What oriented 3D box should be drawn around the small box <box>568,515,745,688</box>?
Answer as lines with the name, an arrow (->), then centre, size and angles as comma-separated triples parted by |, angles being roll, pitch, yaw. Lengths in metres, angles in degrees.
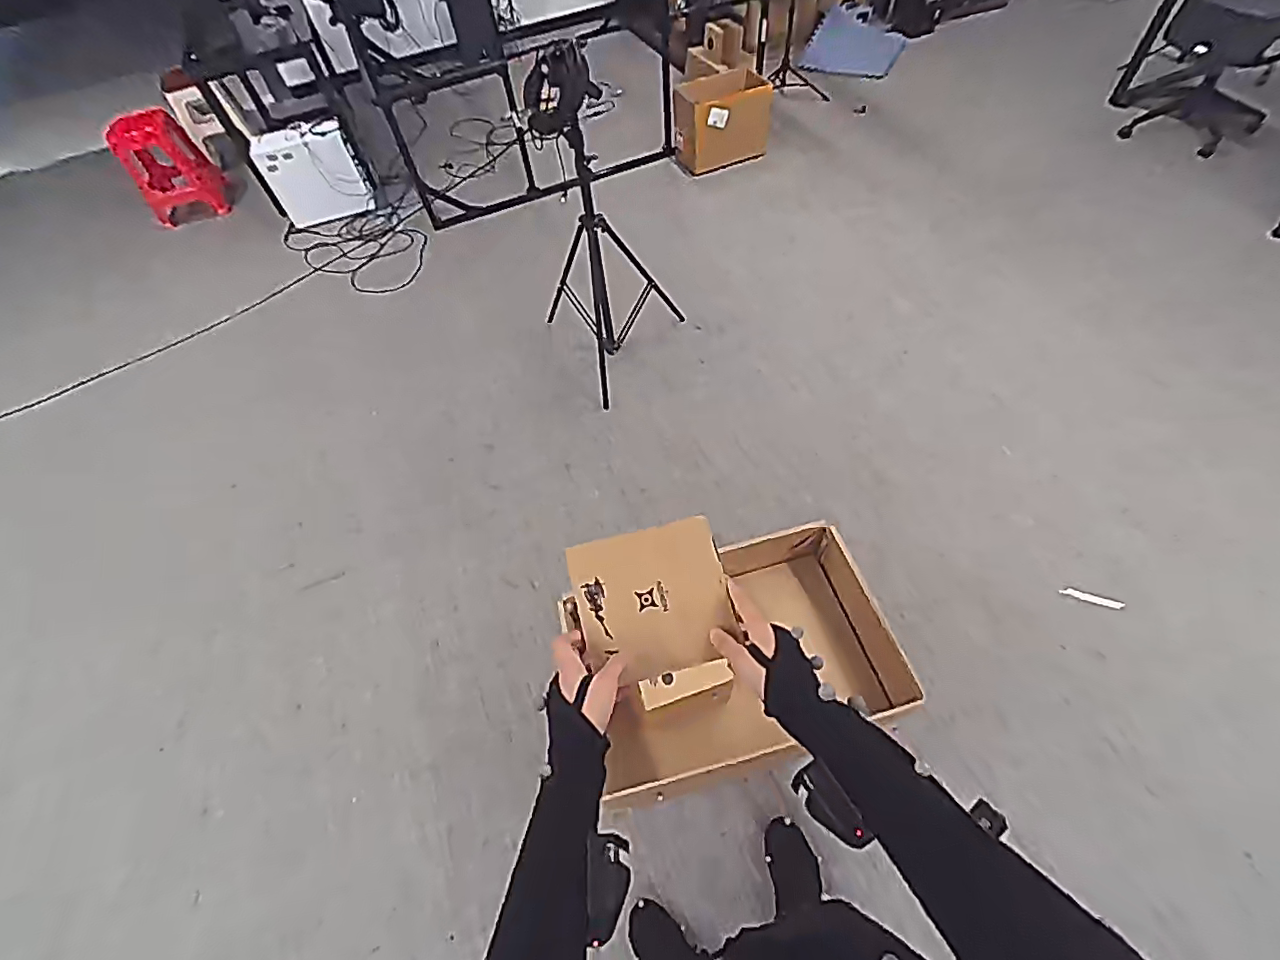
small box -> 0.013, 0.157, 0.692 | 0.179, 0.176, 0.168 | -13, 72, -6
